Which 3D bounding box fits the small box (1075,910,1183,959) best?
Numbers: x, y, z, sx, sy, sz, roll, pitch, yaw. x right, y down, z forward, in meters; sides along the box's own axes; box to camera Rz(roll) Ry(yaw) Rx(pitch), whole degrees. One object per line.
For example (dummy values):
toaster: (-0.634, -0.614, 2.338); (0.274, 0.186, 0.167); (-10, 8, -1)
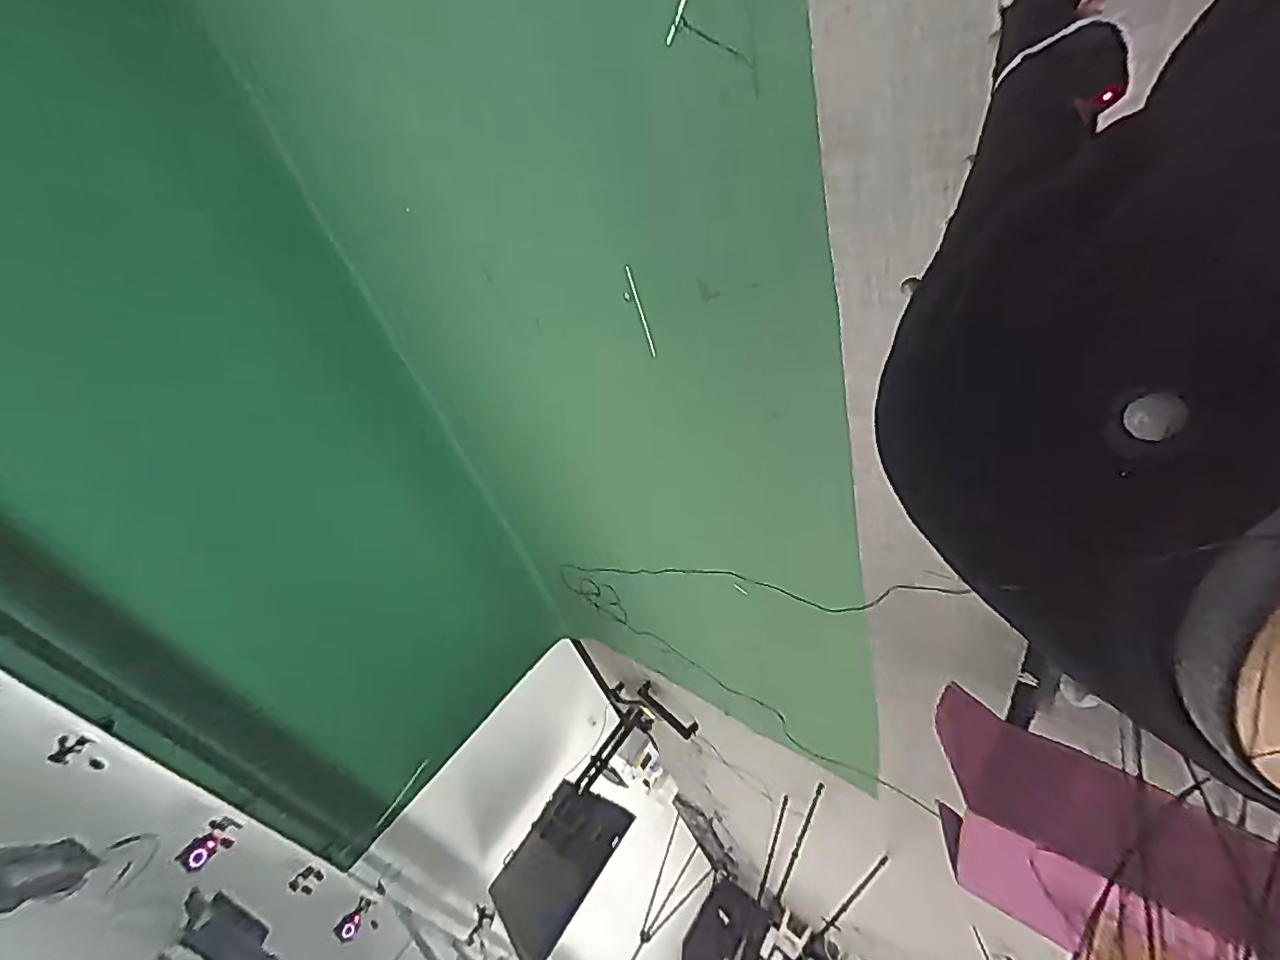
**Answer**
small box: (1.200, 1.218, 1.328); (0.179, 0.176, 0.168); (18, 139, 39)
